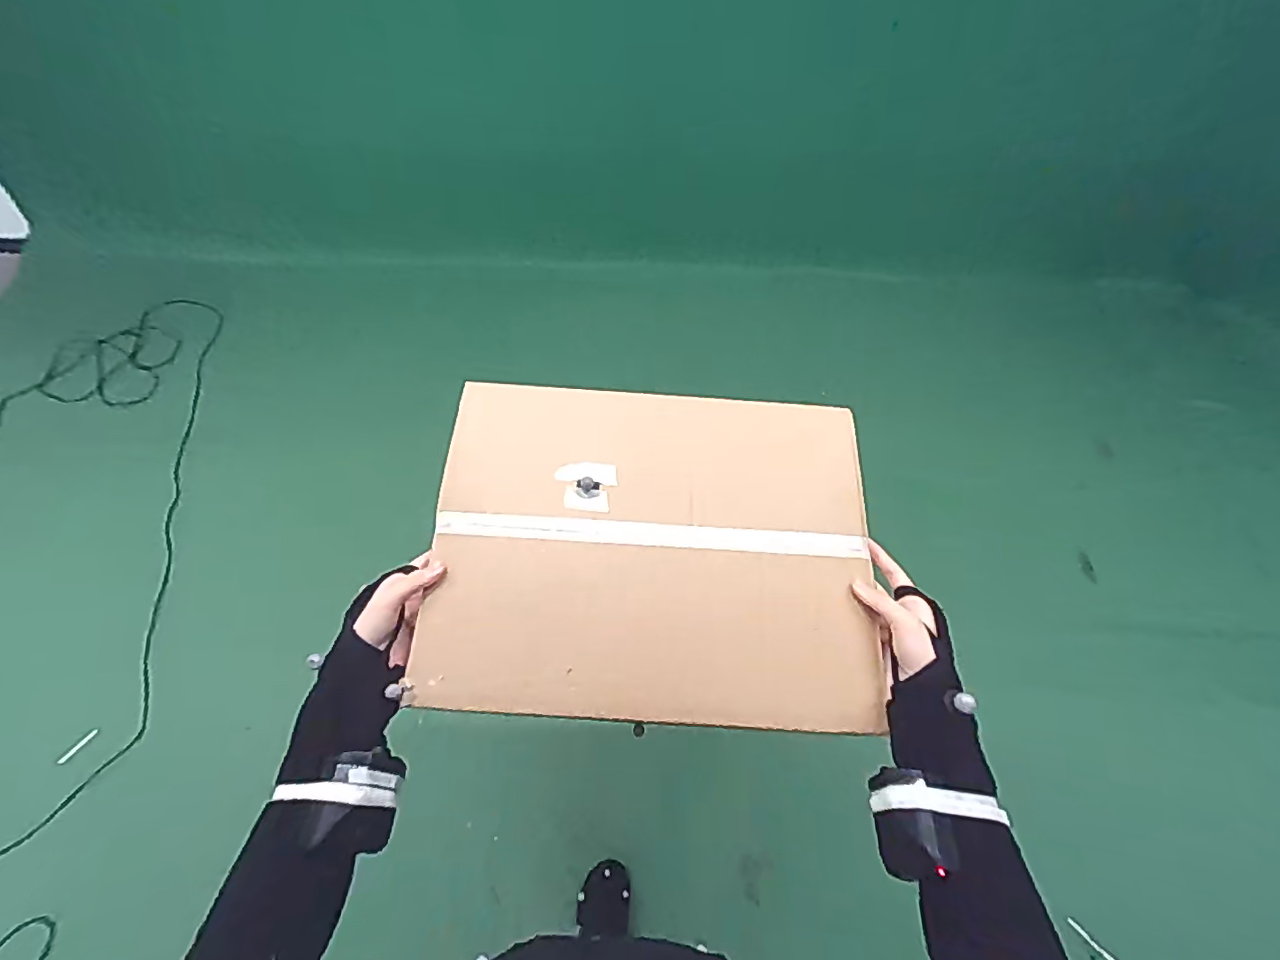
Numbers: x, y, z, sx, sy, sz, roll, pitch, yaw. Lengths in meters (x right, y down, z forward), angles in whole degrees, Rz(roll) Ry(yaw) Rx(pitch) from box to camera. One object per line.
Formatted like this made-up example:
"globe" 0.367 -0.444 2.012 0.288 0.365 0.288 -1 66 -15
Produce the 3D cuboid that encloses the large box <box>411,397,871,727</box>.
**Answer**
"large box" 0.006 0.116 0.656 0.408 0.320 0.320 3 66 0
